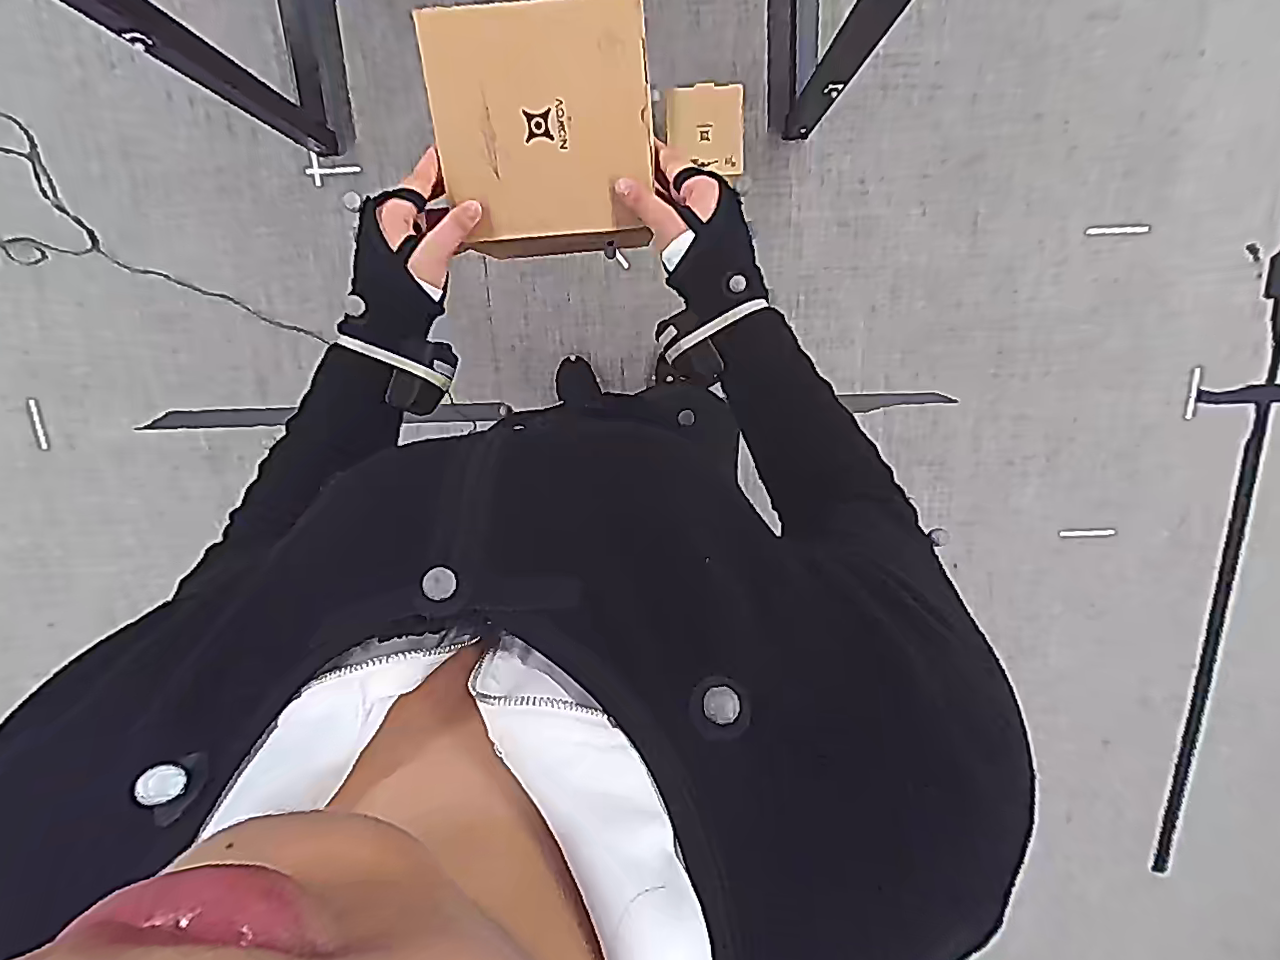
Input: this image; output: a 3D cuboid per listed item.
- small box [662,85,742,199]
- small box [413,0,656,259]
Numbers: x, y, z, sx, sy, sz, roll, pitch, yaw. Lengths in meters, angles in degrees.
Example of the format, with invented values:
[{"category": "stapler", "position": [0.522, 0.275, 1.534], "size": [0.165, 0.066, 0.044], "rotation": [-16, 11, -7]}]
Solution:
[{"category": "small box", "position": [0.138, -0.766, 1.240], "size": [0.168, 0.176, 0.179], "rotation": [-3, 103, 2]}, {"category": "small box", "position": [-0.082, -0.309, 0.508], "size": [0.179, 0.176, 0.168], "rotation": [-6, 106, 1]}]
